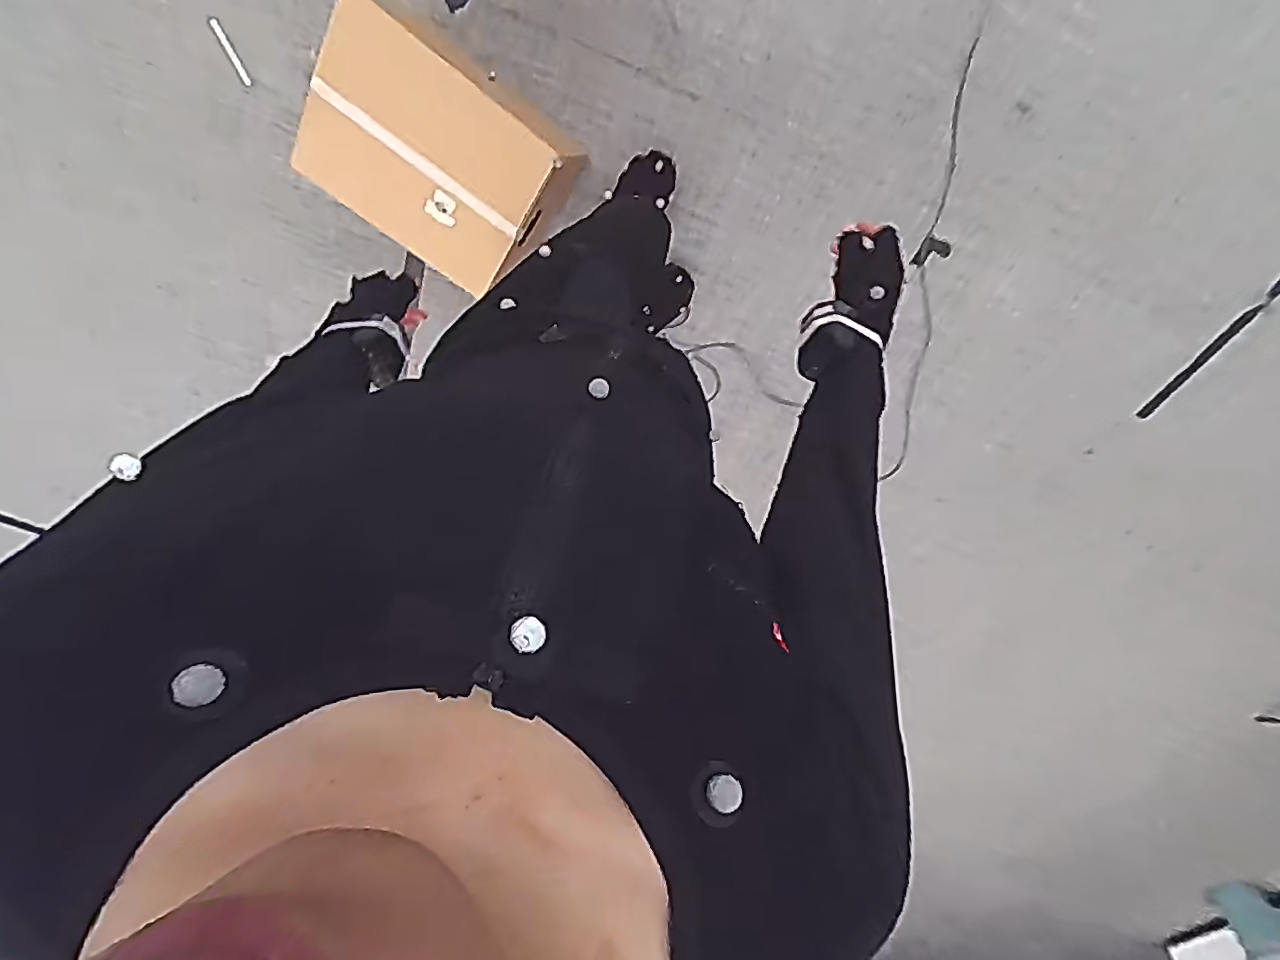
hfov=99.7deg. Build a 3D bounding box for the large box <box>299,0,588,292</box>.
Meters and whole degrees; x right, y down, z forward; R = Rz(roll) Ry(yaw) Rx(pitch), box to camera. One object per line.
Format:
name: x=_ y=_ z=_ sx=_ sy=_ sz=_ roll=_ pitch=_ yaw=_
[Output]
large box: x=-0.370 y=-0.658 z=1.094 sx=0.408 sy=0.320 sz=0.320 roll=33 pitch=120 yaw=-15
